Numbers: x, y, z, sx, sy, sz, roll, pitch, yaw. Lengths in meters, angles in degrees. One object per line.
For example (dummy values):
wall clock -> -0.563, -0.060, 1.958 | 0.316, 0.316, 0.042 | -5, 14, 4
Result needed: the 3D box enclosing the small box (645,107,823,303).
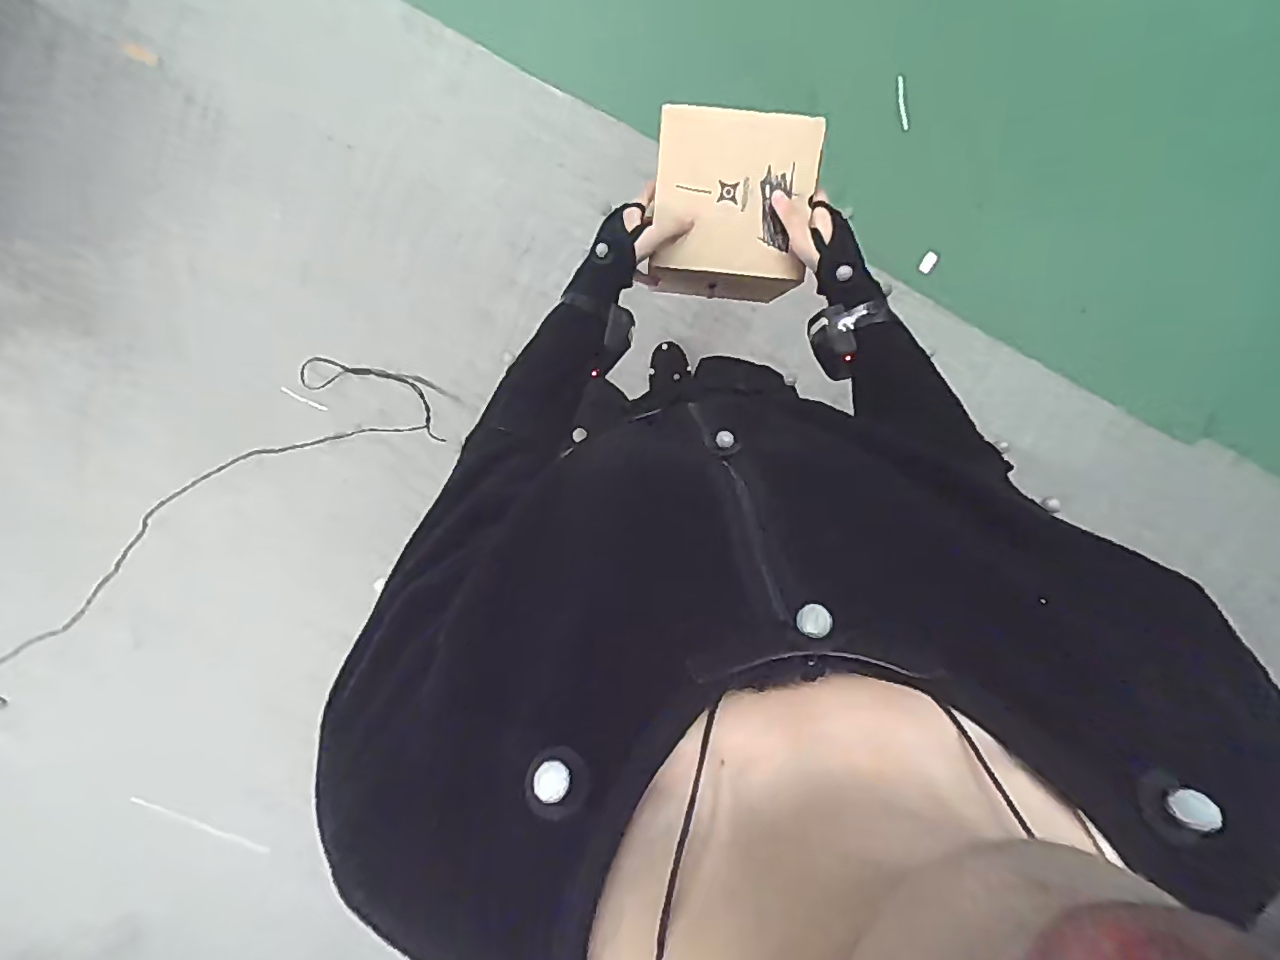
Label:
small box -> 0.100, -0.317, 0.658 | 0.179, 0.176, 0.168 | 5, 100, 0
